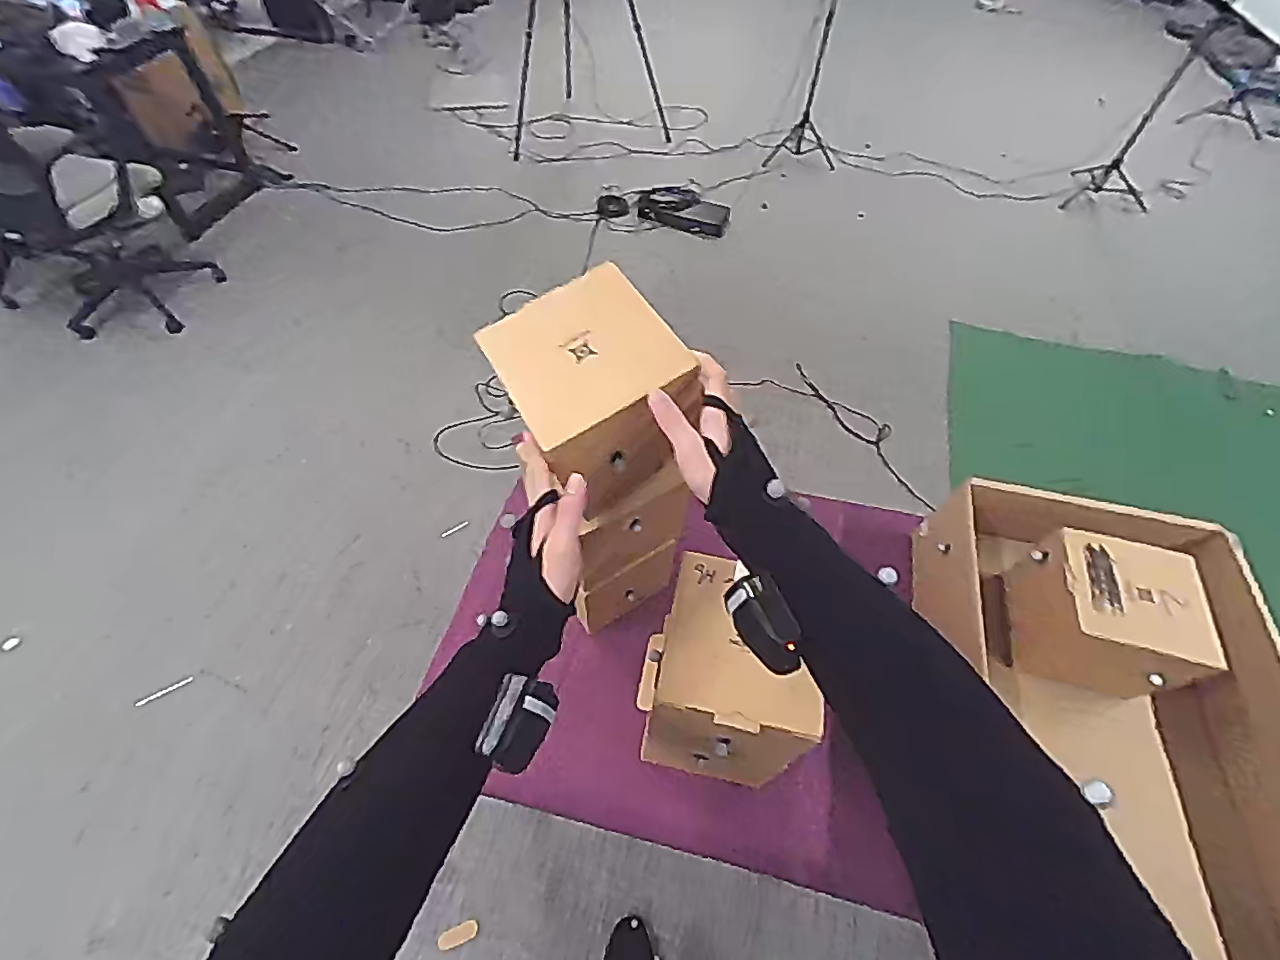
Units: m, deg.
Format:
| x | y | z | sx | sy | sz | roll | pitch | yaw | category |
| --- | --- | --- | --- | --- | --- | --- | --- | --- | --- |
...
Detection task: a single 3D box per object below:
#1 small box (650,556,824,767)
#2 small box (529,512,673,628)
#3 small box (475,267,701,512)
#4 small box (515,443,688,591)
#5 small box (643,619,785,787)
| x | y | z | sx | sy | sz | roll | pitch | yaw | category |
| --- | --- | --- | --- | --- | --- | --- | --- | --- | --- |
| 0.108 | 0.219 | 0.637 | 0.168 | 0.176 | 0.179 | 11 | 54 | 5 | small box |
| -0.064 | 0.125 | 0.899 | 0.168 | 0.176 | 0.179 | -28 | 60 | -21 | small box |
| -0.045 | -0.085 | 0.590 | 0.168 | 0.176 | 0.179 | -31 | 62 | -7 | small box |
| -0.053 | 0.028 | 0.768 | 0.179 | 0.176 | 0.168 | -28 | 61 | -20 | small box |
| 0.103 | 0.320 | 0.765 | 0.179 | 0.176 | 0.168 | 10 | 54 | 5 | small box |
